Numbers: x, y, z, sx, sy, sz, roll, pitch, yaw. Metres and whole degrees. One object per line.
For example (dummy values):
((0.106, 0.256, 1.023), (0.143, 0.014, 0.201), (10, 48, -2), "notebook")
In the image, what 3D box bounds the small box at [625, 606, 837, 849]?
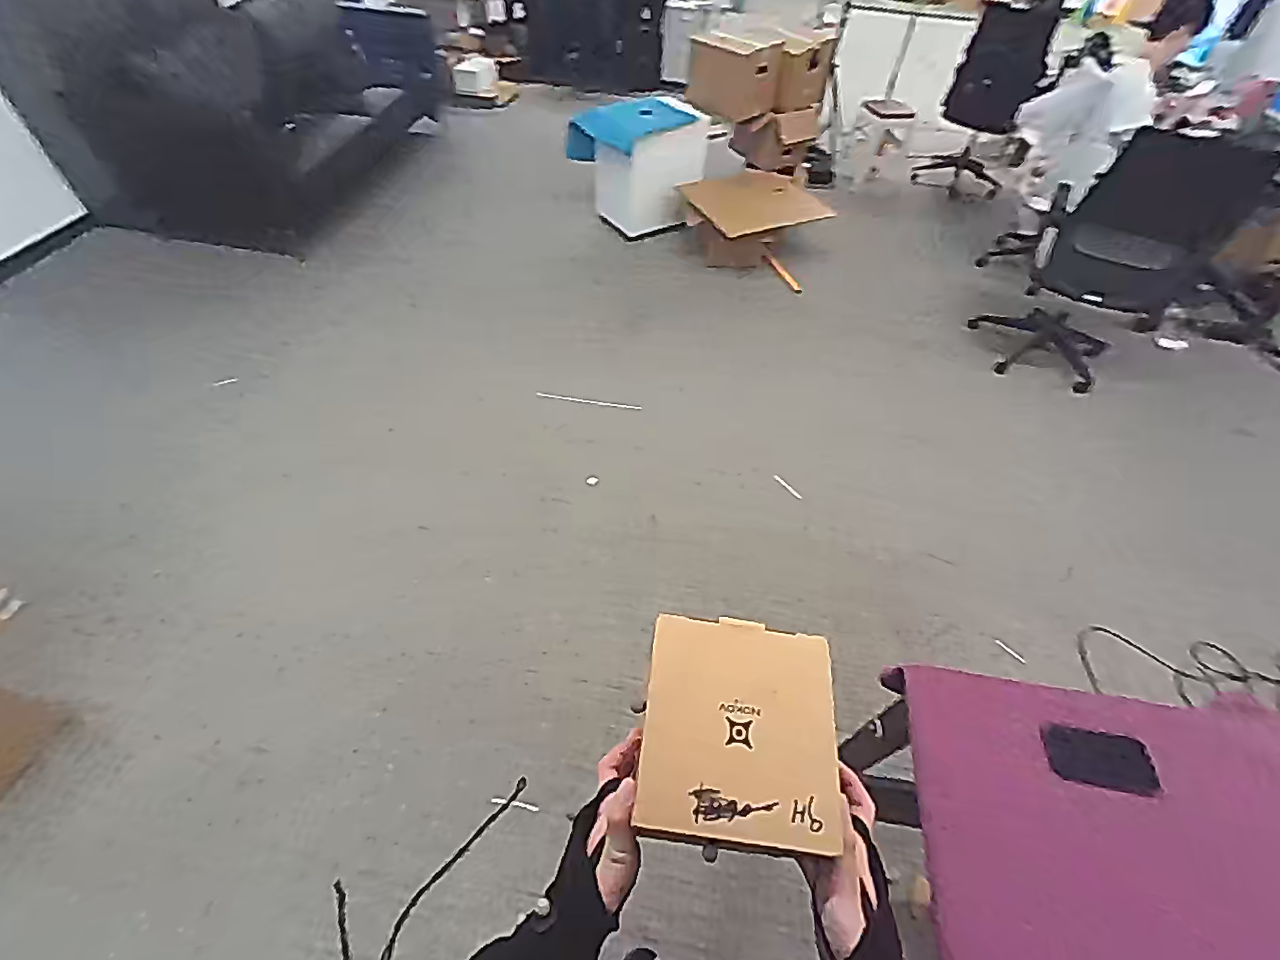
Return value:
((0.077, 0.246, 0.530), (0.168, 0.176, 0.179), (7, 55, 2), "small box")
